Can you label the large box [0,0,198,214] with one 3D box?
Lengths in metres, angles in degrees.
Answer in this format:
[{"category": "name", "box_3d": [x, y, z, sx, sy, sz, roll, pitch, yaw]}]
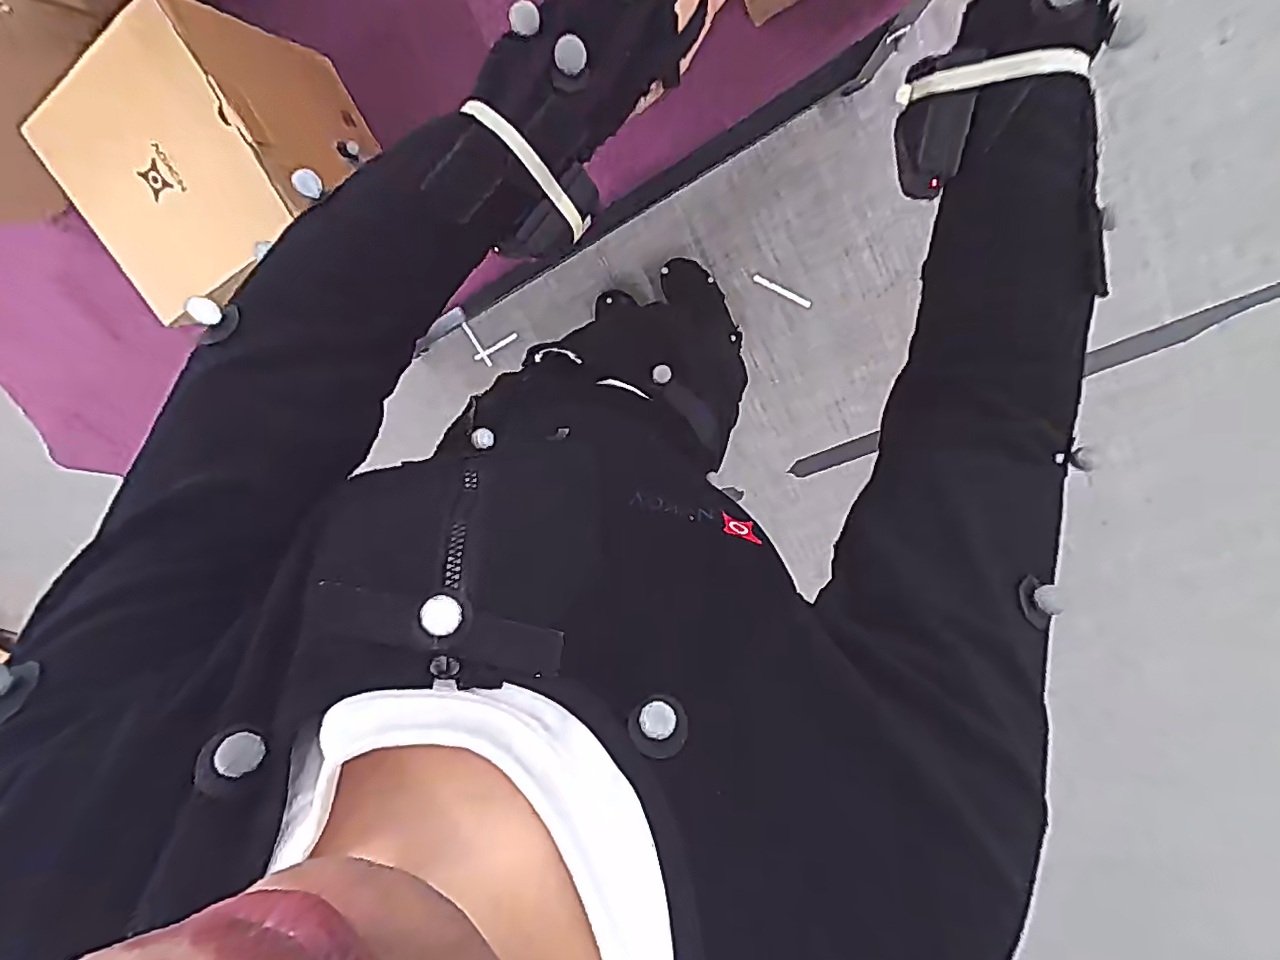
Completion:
[{"category": "large box", "box_3d": [-0.668, -0.457, 0.377, 0.320, 0.320, 0.408, -25, 110, 21]}]
